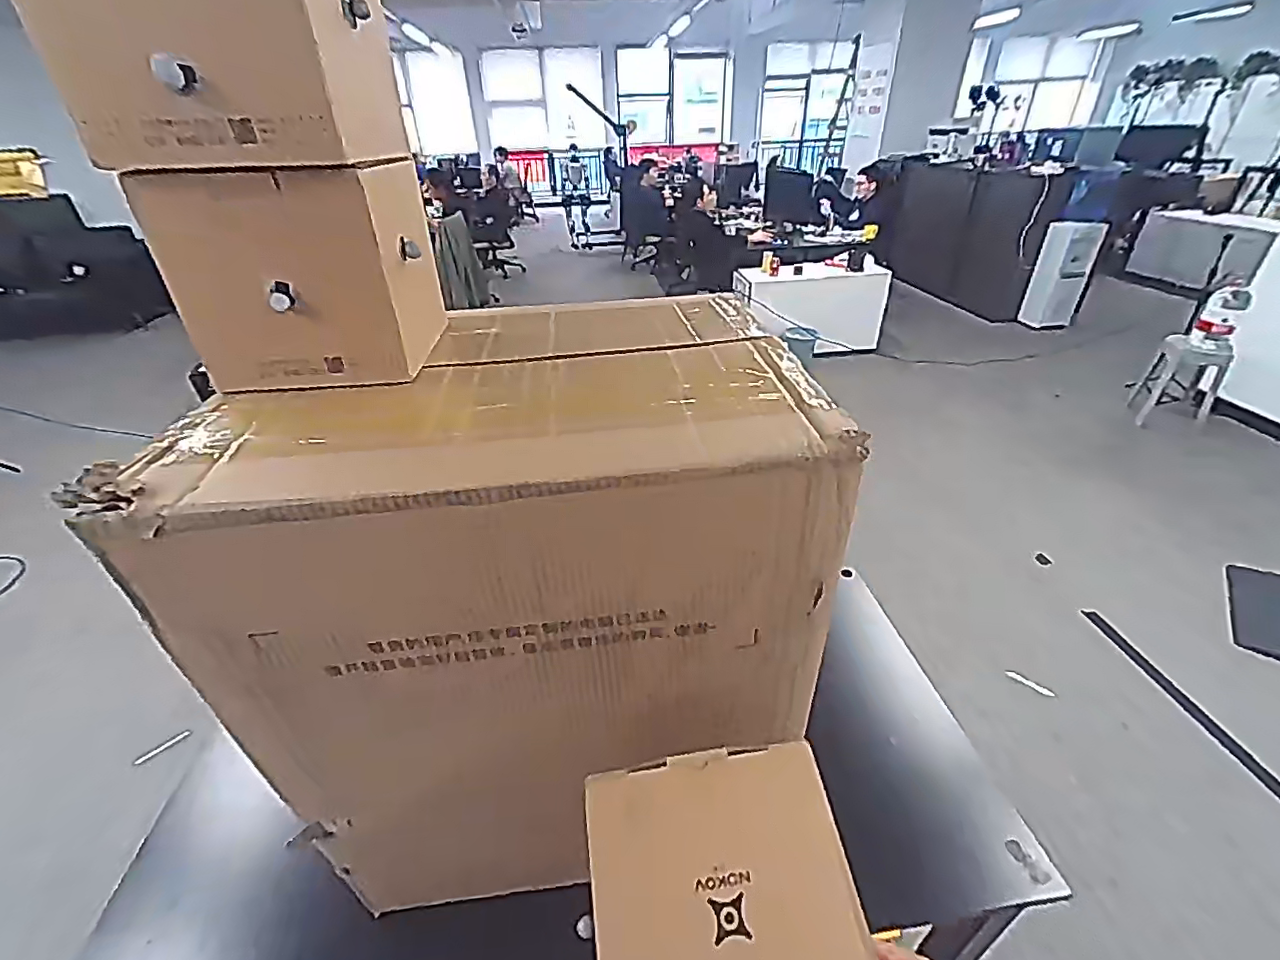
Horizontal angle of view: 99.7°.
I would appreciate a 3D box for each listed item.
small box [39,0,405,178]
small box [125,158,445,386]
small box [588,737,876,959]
[{"bbox_3d":[-0.290,-0.323,0.396,0.168,0.176,0.179,-4,33,-4],"label":"small box"},{"bbox_3d":[-0.291,-0.193,0.499,0.168,0.176,0.179,-4,33,-5],"label":"small box"},{"bbox_3d":[0.053,0.313,0.398,0.168,0.176,0.179,-7,52,-5],"label":"small box"}]
